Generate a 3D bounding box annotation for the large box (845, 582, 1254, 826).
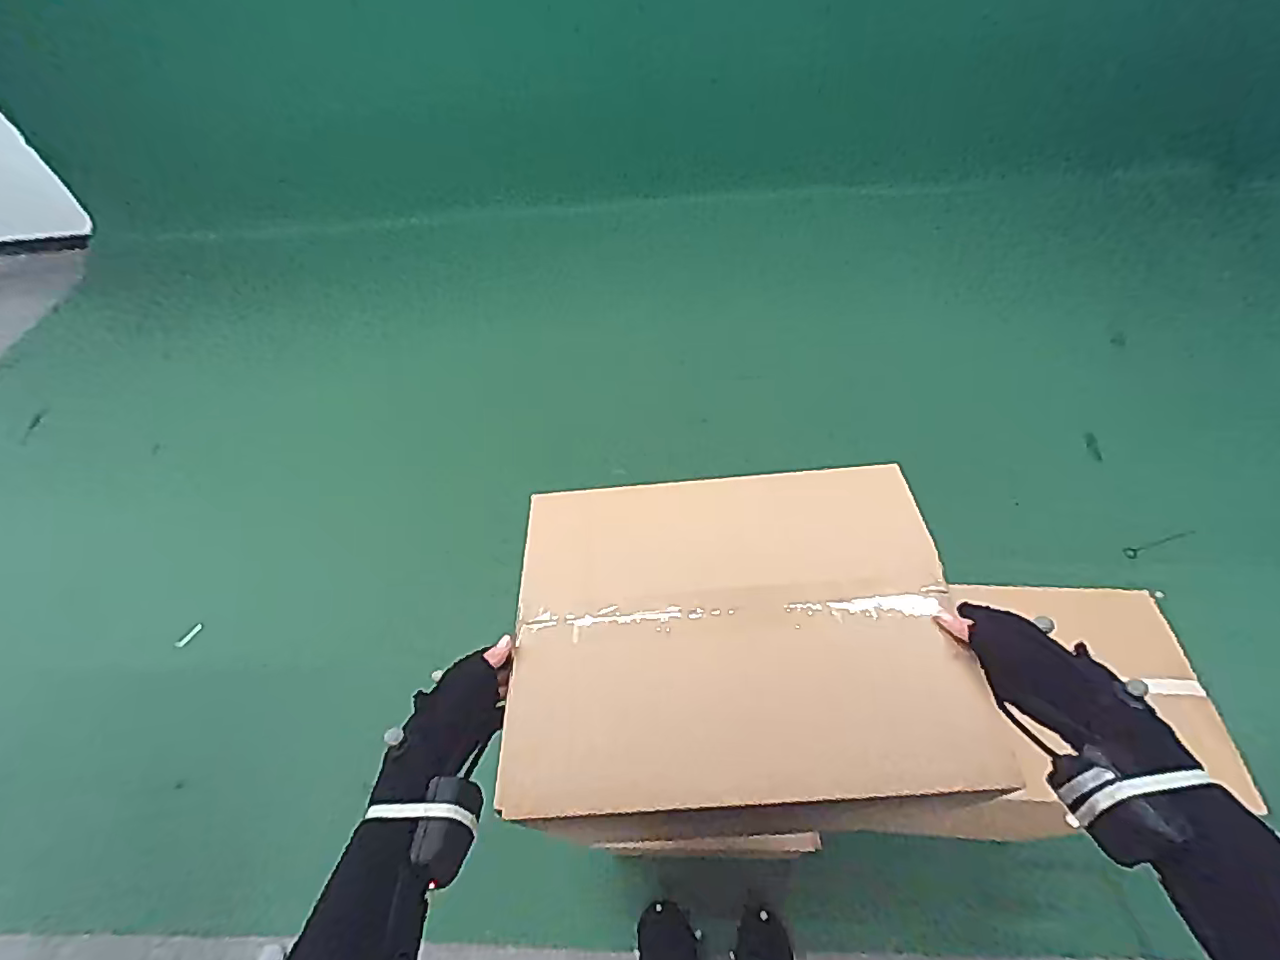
[{"bbox_3d":[0.609,0.383,0.915,0.408,0.320,0.320,1,54,5],"label":"large box"}]
